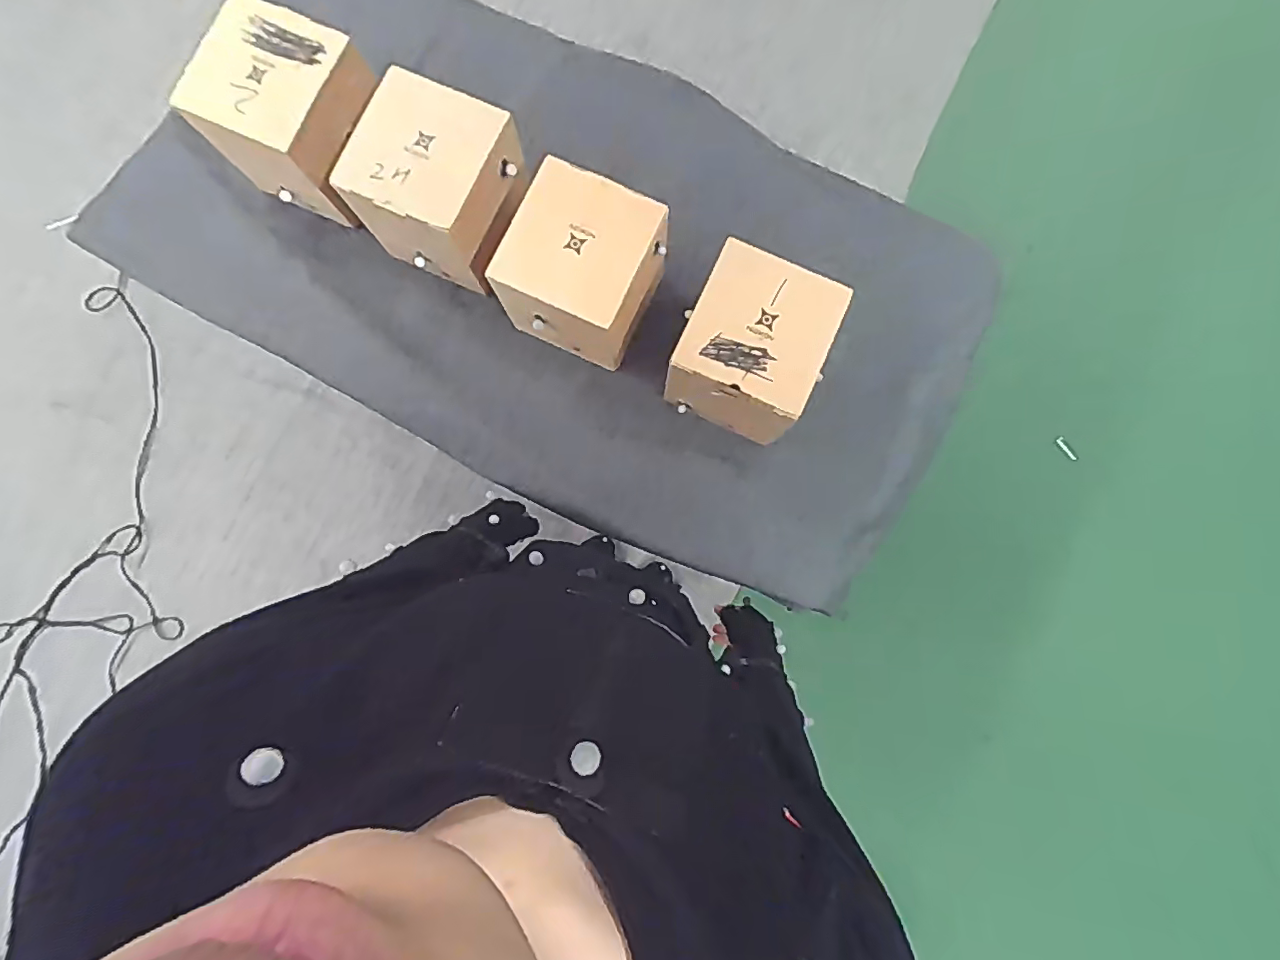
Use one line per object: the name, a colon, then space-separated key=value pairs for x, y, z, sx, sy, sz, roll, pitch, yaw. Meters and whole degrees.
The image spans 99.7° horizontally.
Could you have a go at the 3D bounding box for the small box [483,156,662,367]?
small box: x=-0.080 y=-0.277 z=0.728 sx=0.168 sy=0.176 sz=0.179 roll=24 pitch=83 yaw=2

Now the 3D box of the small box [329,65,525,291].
small box: x=-0.270 y=-0.395 z=0.737 sx=0.168 sy=0.176 sz=0.179 roll=24 pitch=84 yaw=2
